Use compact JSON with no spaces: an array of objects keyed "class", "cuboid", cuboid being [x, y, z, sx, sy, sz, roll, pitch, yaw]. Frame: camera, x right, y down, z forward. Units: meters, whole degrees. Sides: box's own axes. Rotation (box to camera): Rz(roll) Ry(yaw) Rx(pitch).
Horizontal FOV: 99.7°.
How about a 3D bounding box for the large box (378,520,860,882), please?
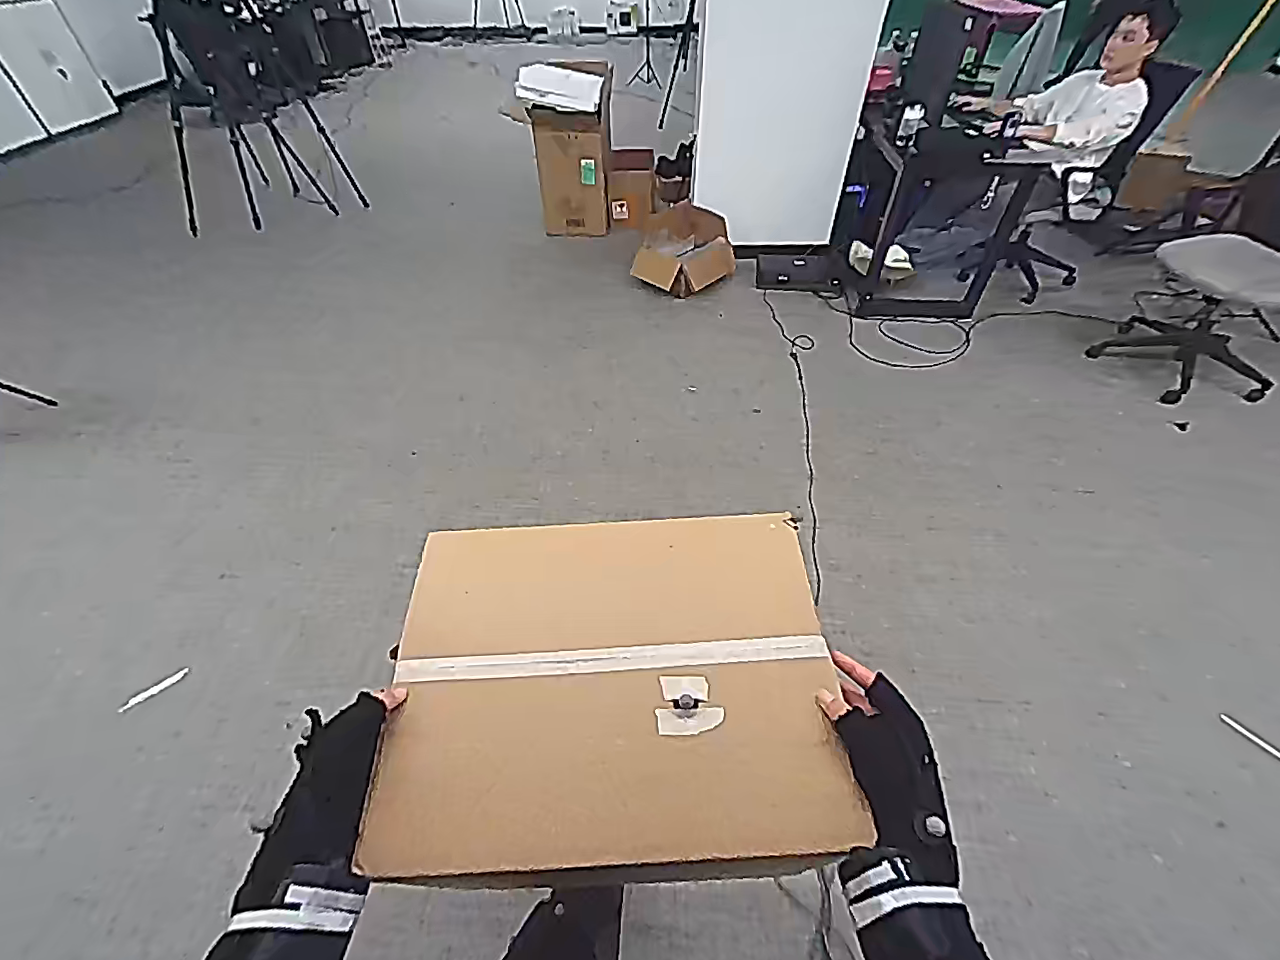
[{"class":"large box","cuboid":[-0.021,0.269,0.645,0.408,0.320,0.320,-3,52,0]}]
